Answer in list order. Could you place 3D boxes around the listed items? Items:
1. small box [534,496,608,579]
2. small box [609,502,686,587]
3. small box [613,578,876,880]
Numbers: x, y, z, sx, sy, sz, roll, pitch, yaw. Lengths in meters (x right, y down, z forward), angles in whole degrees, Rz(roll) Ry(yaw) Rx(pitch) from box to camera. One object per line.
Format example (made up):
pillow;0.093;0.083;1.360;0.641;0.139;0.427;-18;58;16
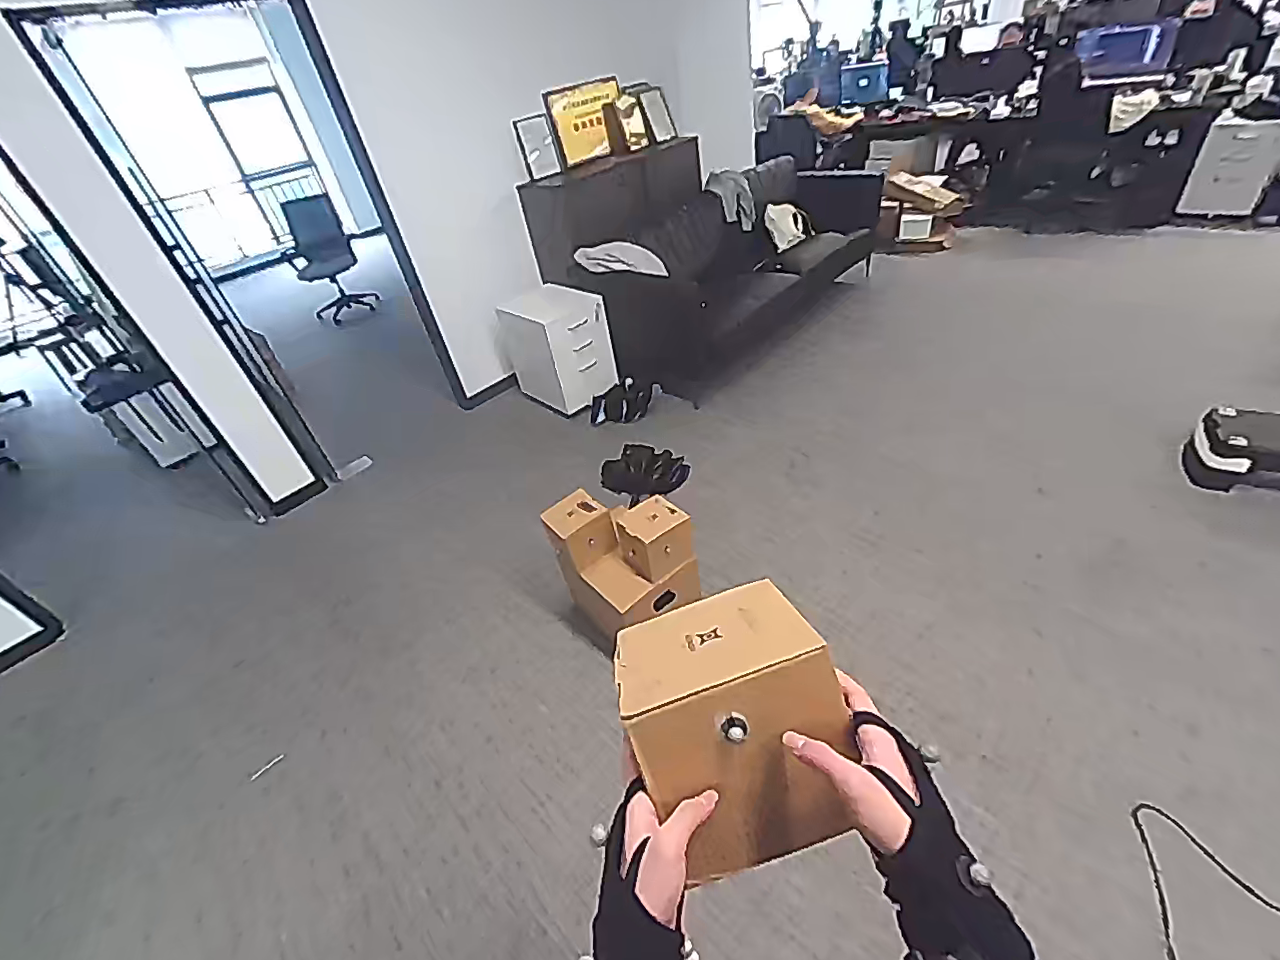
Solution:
small box;-0.220;0.189;1.787;0.179;0.176;0.168;-33;42;-23
small box;0.029;0.206;1.705;0.179;0.176;0.168;-29;40;-26
small box;0.084;0.215;0.497;0.179;0.176;0.168;-17;8;-2
